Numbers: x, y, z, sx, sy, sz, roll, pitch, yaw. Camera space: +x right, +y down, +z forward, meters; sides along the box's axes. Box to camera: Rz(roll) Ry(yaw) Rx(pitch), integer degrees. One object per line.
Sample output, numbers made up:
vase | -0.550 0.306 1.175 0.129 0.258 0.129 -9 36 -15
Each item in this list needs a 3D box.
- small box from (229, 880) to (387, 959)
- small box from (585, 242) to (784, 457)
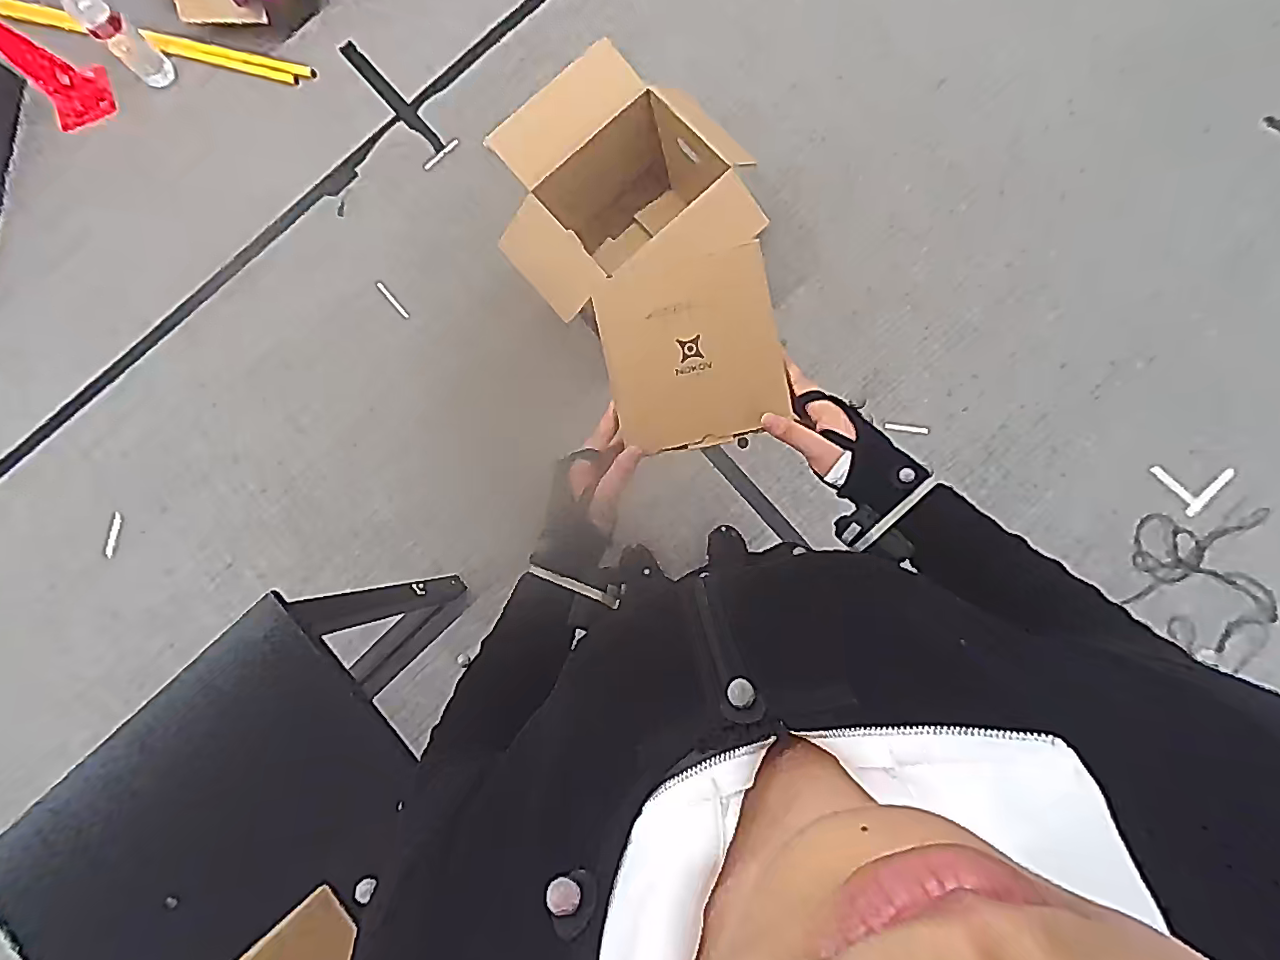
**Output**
small box | -0.454 0.673 0.685 0.168 0.176 0.179 -41 84 -1
small box | 0.052 -0.131 0.600 0.168 0.176 0.179 -12 94 7
